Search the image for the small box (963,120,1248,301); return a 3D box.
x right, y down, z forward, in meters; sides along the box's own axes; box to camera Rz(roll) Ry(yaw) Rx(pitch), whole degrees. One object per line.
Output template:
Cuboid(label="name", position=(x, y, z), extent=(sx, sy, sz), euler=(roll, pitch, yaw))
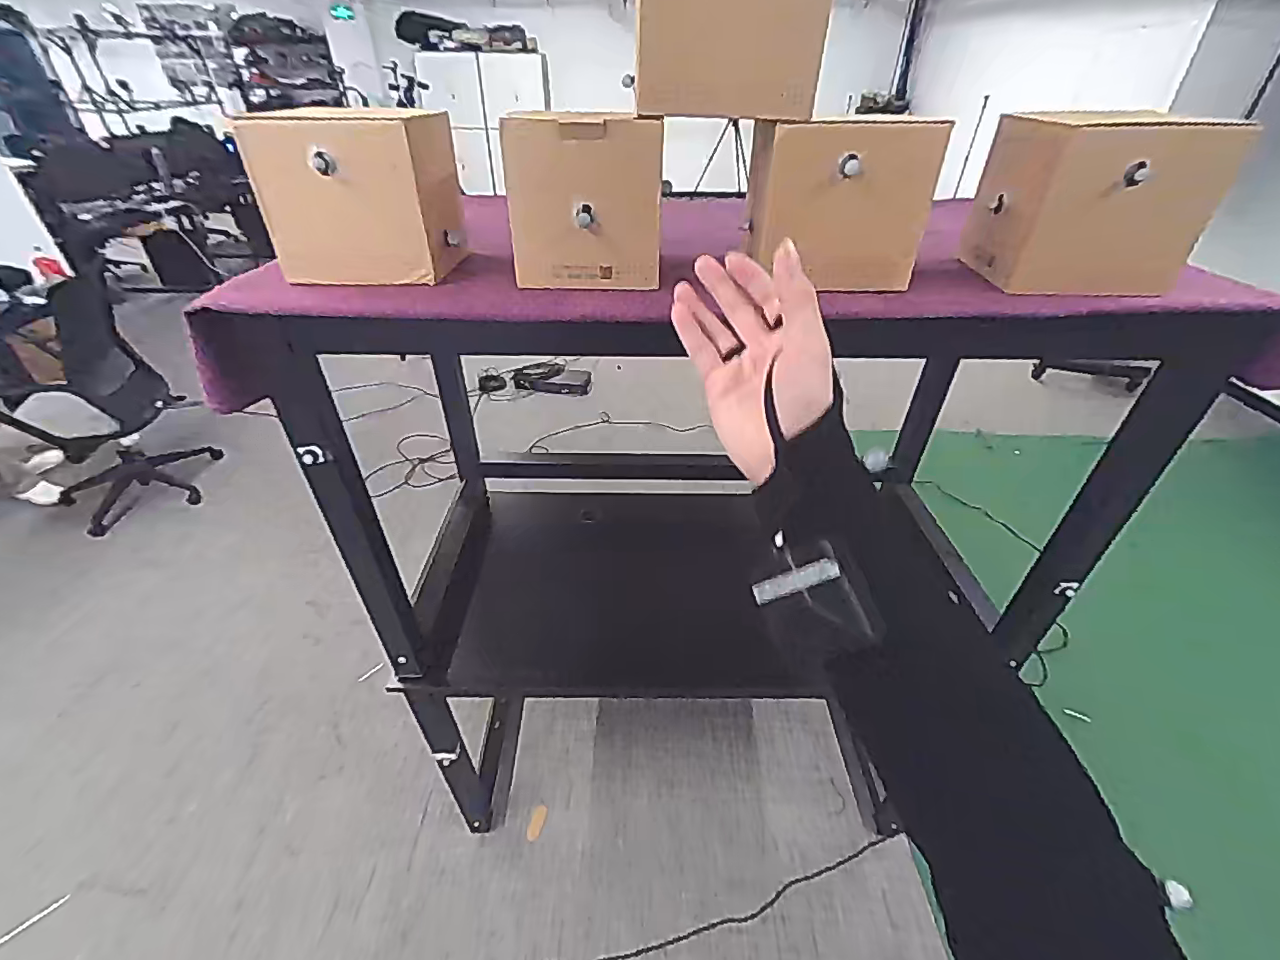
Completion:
Cuboid(label="small box", position=(0.516, -0.321, 0.642), extent=(0.179, 0.176, 0.168), euler=(3, 37, 4))

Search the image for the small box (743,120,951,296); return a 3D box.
Cuboid(label="small box", position=(0.229, -0.327, 0.651), extent=(0.179, 0.176, 0.168), euler=(0, 35, 2))

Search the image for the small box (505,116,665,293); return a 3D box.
Cuboid(label="small box", position=(-0.053, -0.333, 0.652), extent=(0.168, 0.176, 0.179), euler=(1, 36, 0))

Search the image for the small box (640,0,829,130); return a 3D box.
Cuboid(label="small box", position=(0.088, -0.466, 0.559), extent=(0.179, 0.176, 0.168), euler=(1, 35, -2))
